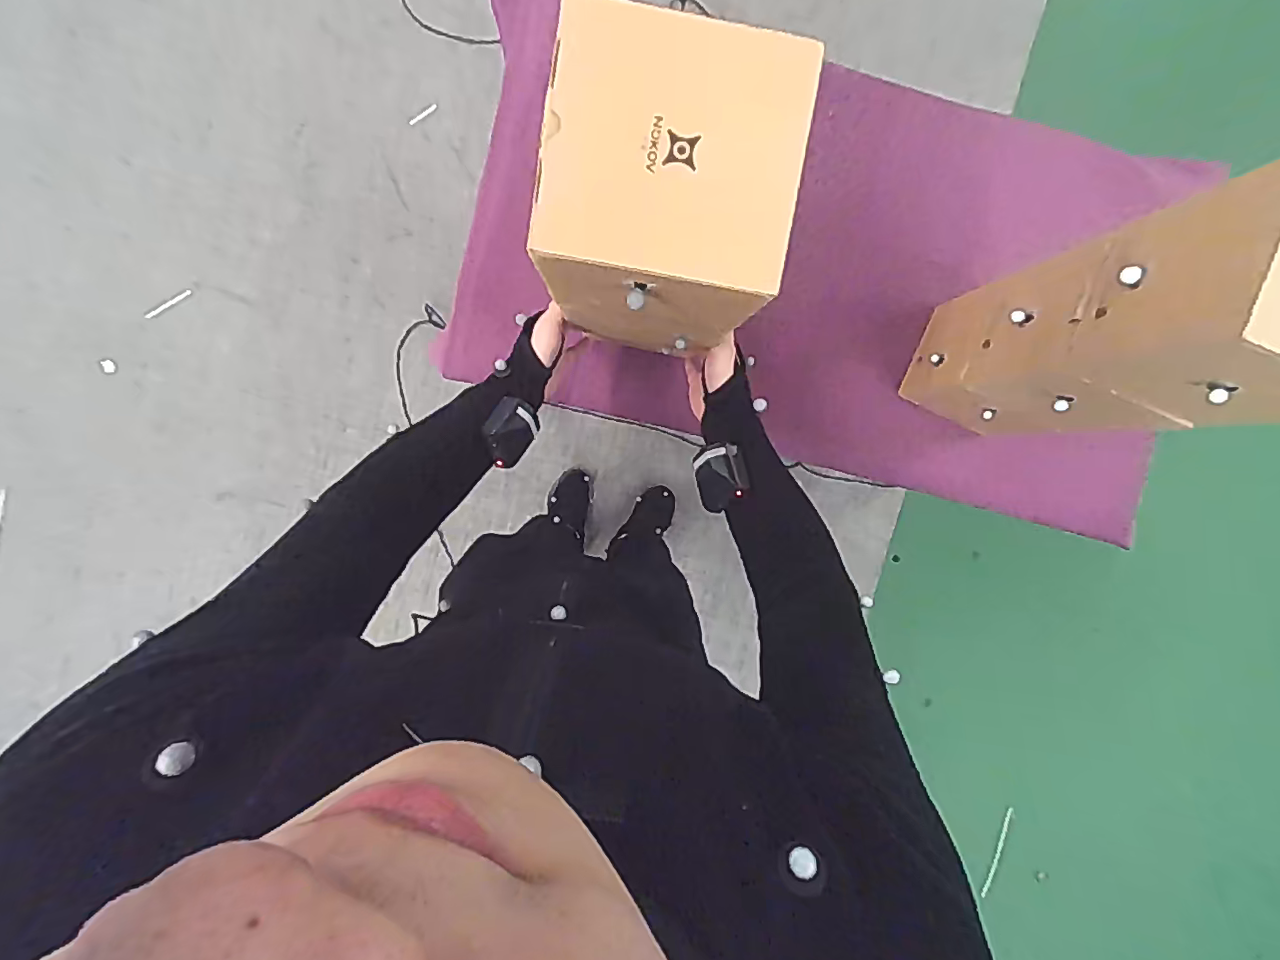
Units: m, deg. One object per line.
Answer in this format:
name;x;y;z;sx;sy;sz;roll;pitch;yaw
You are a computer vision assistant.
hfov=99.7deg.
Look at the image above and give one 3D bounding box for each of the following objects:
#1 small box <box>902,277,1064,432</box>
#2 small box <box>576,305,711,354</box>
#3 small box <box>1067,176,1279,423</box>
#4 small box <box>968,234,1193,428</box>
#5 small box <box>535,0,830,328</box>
small box;0.548;-0.179;0.837;0.179;0.176;0.168;24;92;-6
small box;0.016;-0.280;0.762;0.179;0.176;0.168;11;96;-3
small box;0.572;-0.158;0.511;0.179;0.176;0.168;20;92;-4
small box;0.559;-0.168;0.675;0.179;0.176;0.168;22;93;-4
small box;0.024;-0.227;0.439;0.179;0.176;0.168;9;97;-3
